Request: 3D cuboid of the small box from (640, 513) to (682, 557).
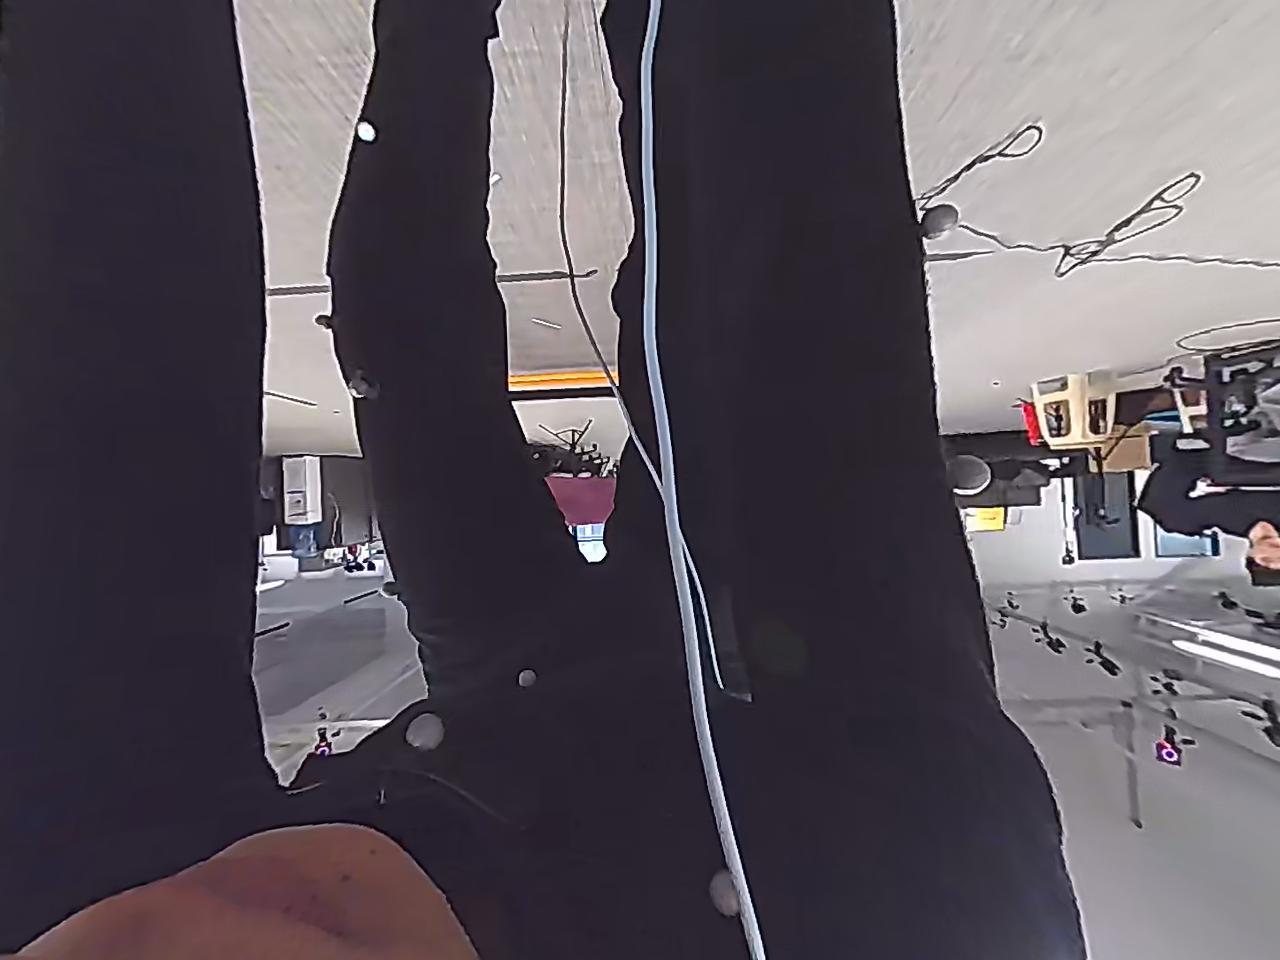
[{"bbox_3d":[0.088,0.234,2.330,0.168,0.176,0.179,-2,179,-2],"label":"small box"}]
